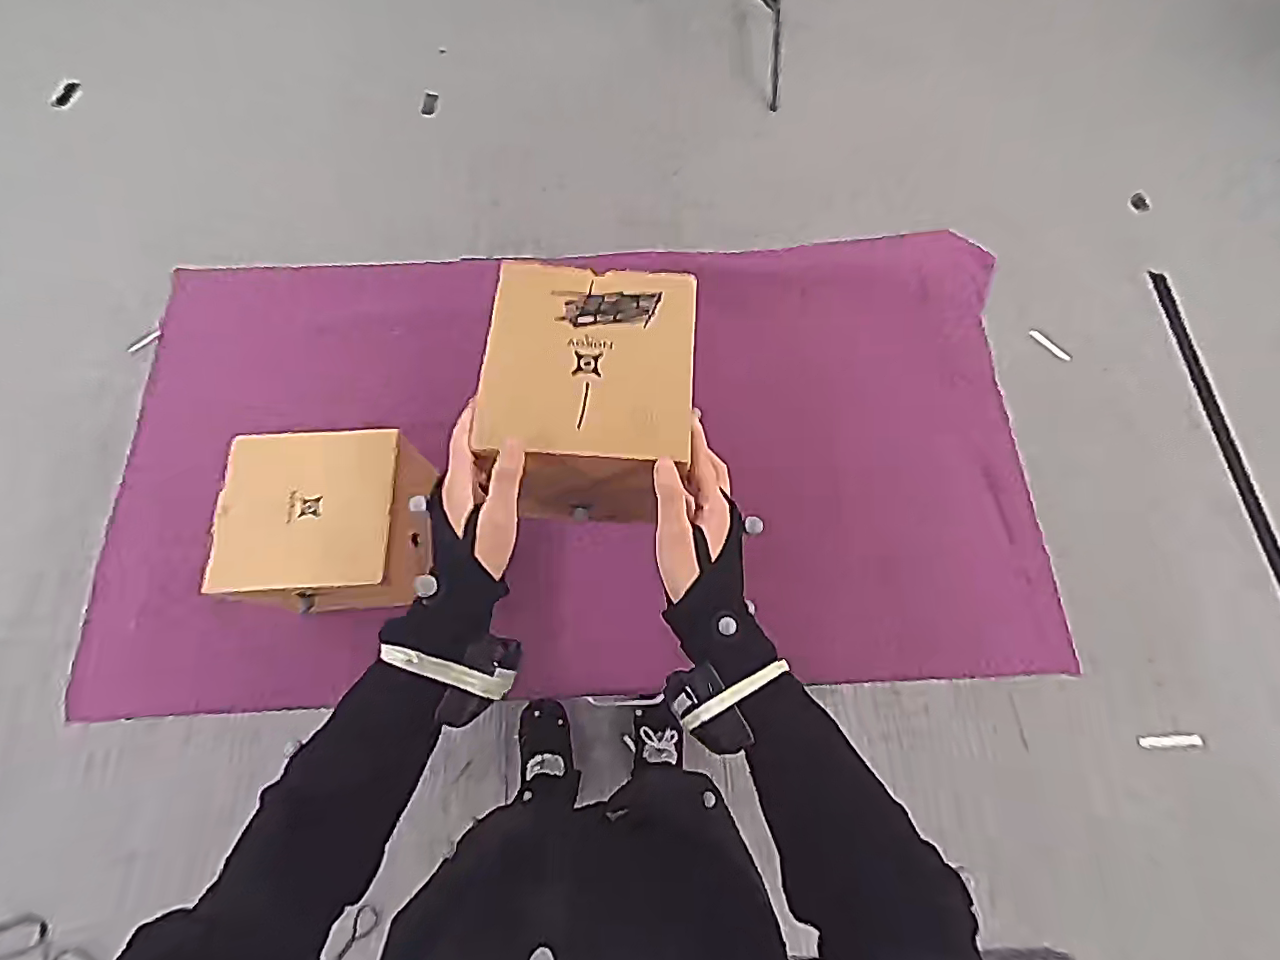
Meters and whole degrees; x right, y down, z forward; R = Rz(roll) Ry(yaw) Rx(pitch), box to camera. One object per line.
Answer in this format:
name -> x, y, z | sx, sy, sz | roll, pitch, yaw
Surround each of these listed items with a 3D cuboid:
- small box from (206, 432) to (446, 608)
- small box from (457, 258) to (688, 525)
small box -> -0.338, 0.054, 0.624 | 0.179, 0.176, 0.168 | -3, 71, -1
small box -> -0.050, -0.070, 0.496 | 0.168, 0.176, 0.179 | 4, 69, -1
